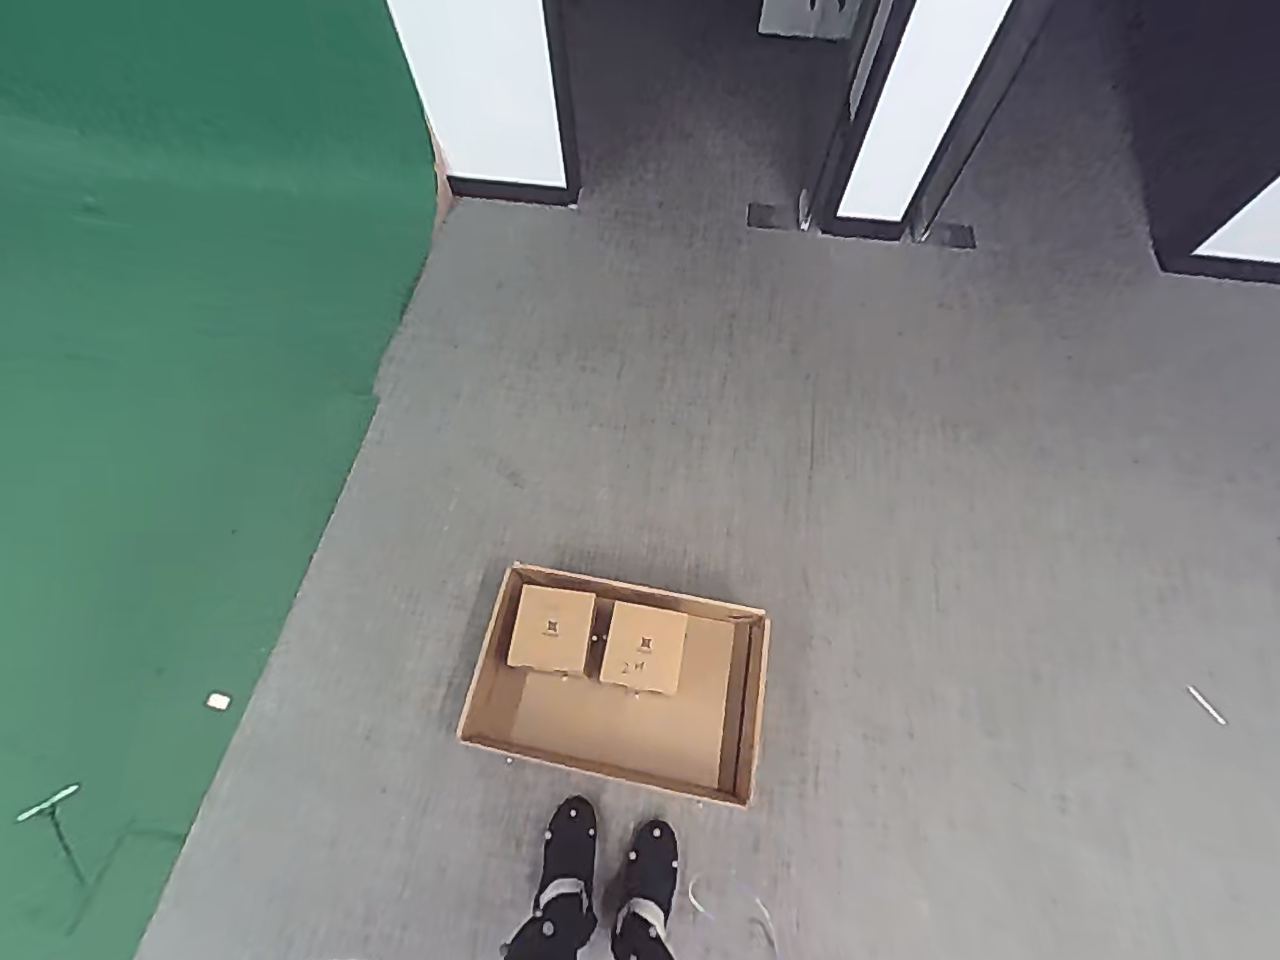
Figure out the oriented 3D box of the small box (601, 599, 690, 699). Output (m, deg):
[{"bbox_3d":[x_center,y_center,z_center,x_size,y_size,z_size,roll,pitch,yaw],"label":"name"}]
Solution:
[{"bbox_3d":[0.015,0.389,1.229,0.168,0.176,0.179,10,66,7],"label":"small box"}]
